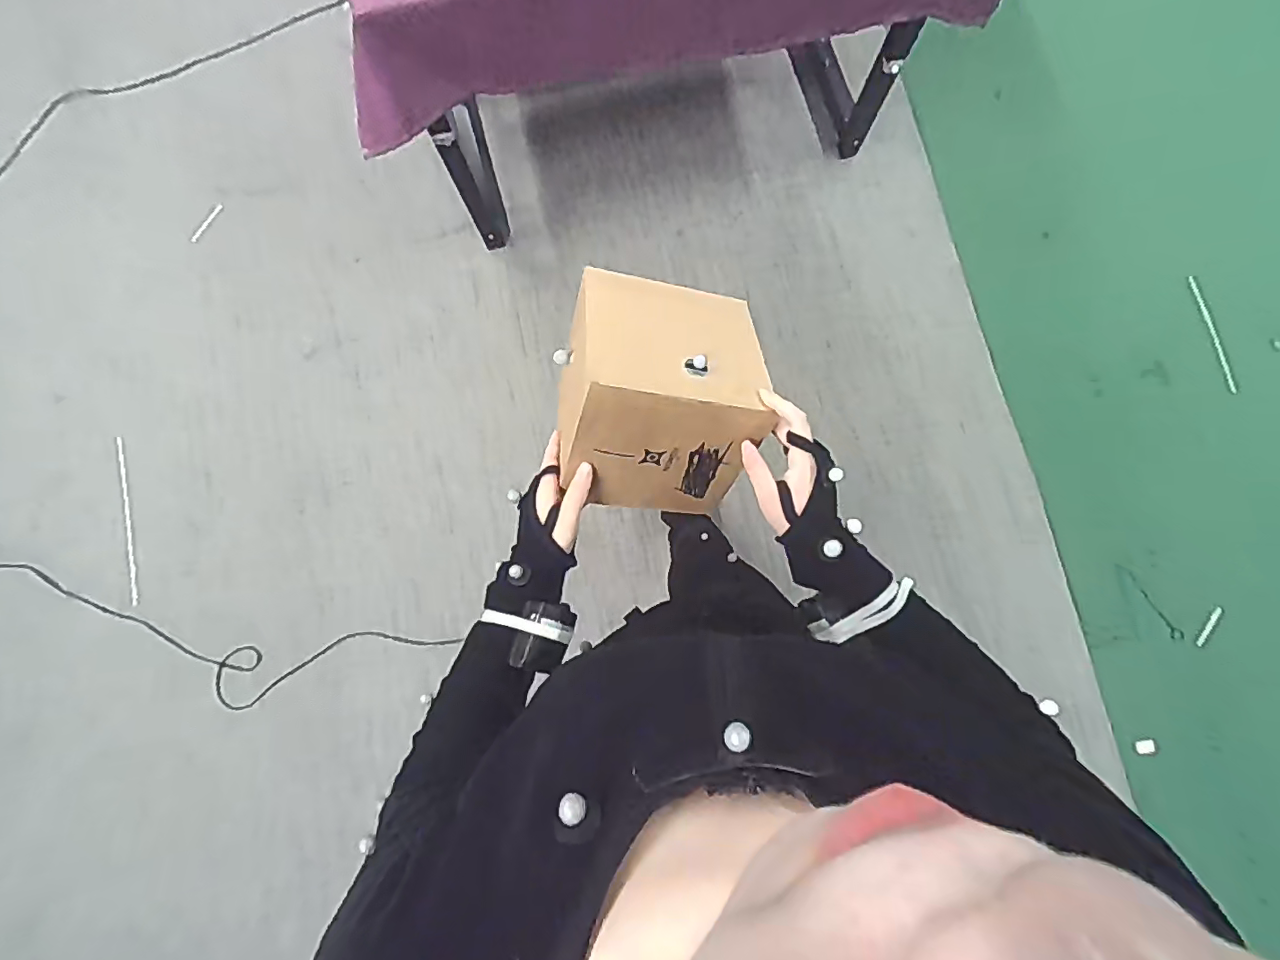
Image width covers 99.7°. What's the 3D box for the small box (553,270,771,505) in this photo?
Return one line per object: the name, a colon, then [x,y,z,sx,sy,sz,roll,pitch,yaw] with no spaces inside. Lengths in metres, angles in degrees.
small box: [0.009,-0.094,0.568,0.179,0.168,0.176,7,52,-15]
